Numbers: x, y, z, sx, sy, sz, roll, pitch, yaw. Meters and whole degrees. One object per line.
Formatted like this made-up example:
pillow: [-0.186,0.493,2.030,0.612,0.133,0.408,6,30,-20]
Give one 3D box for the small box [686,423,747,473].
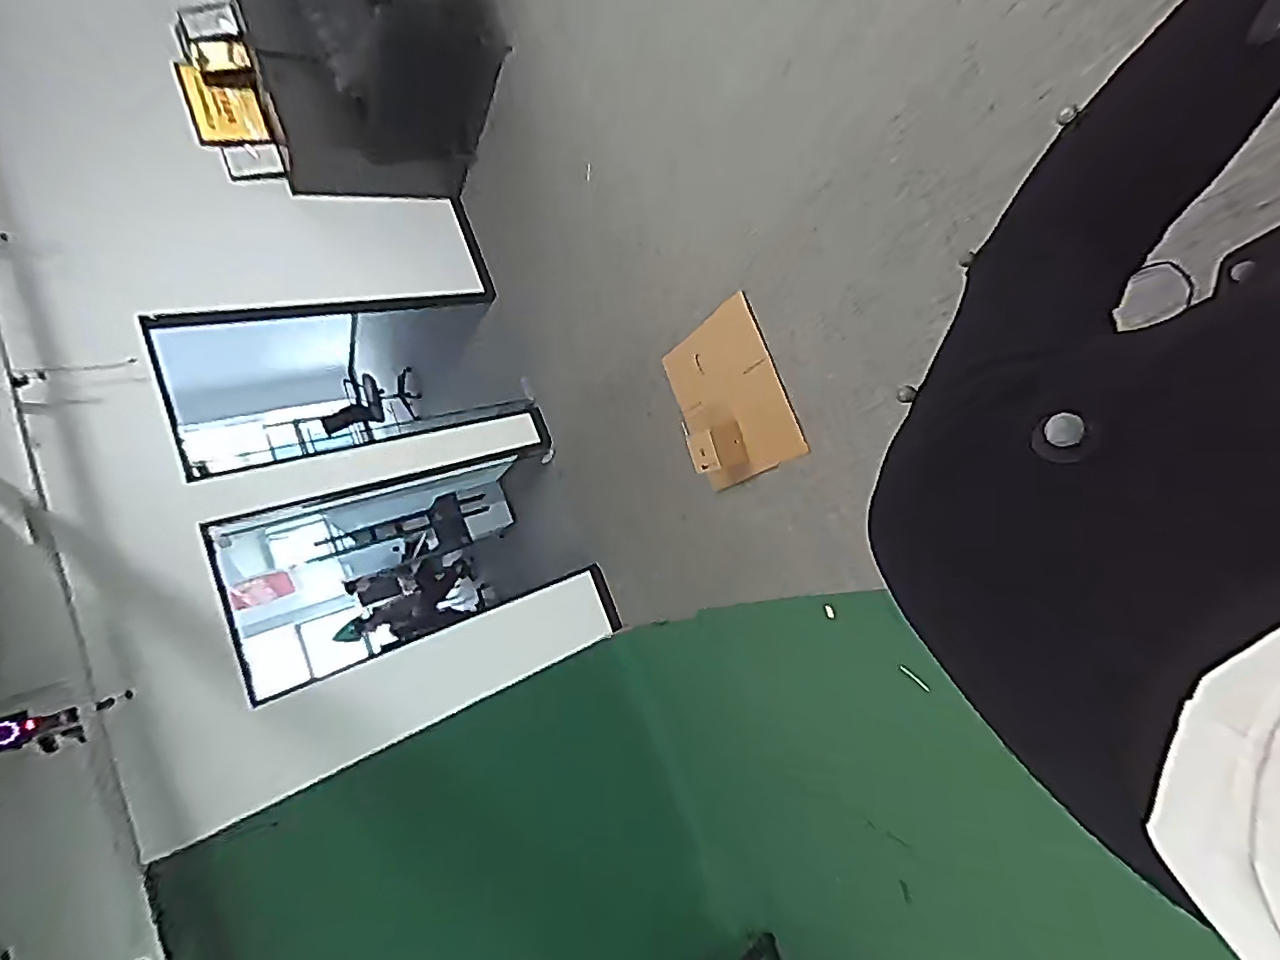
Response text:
small box: [0.332,-0.140,2.332,0.168,0.176,0.179,-14,93,57]
